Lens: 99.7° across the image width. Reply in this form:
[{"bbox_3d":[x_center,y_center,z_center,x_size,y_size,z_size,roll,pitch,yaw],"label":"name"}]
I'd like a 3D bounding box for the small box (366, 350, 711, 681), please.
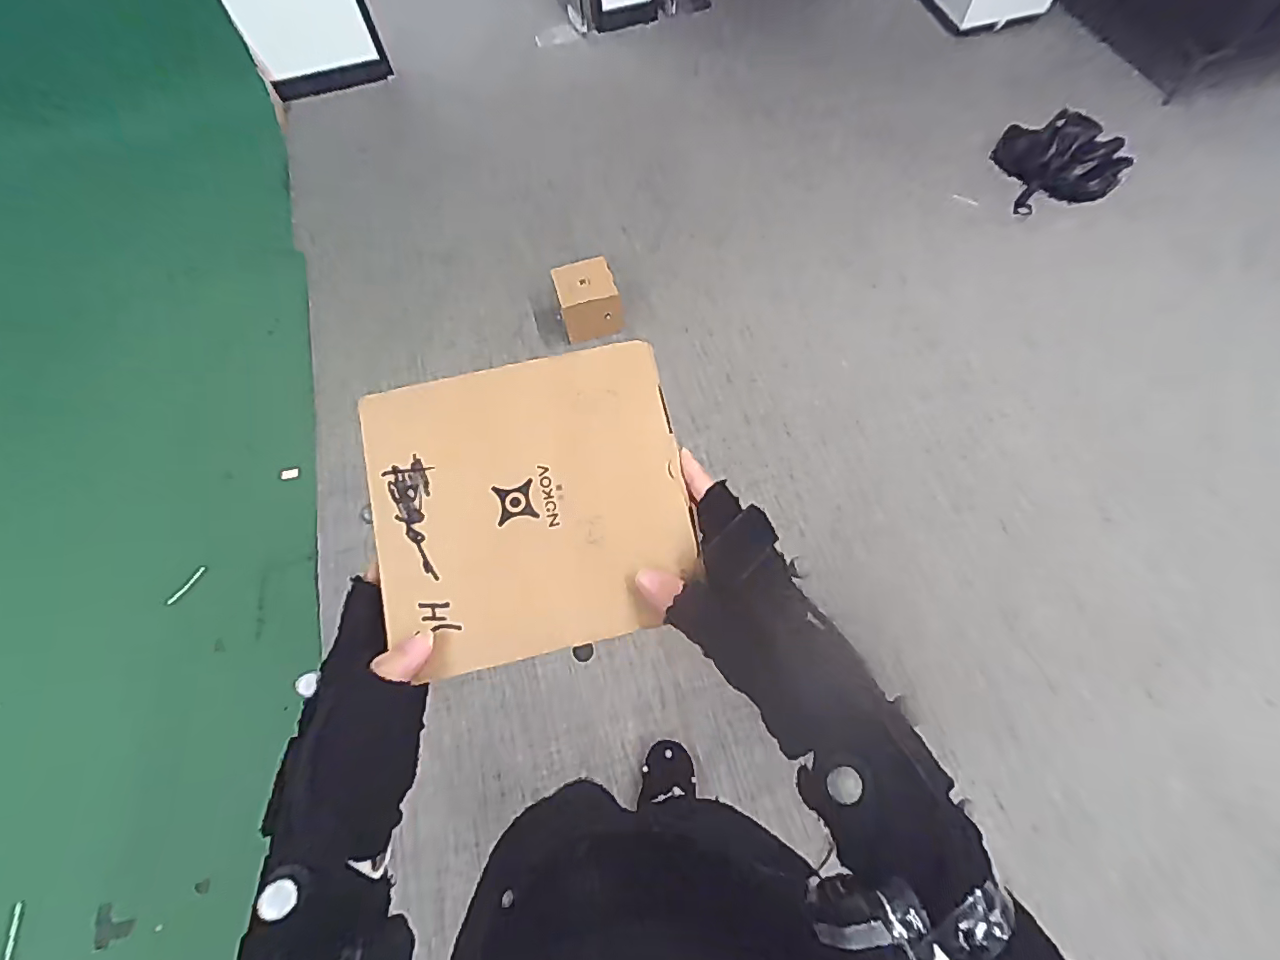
[{"bbox_3d":[-0.064,0.030,0.386,0.179,0.176,0.168,-12,77,-5],"label":"small box"}]

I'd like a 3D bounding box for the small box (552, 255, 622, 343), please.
[{"bbox_3d":[-0.159,-0.558,1.680,0.179,0.176,0.168,-17,65,-4],"label":"small box"}]
